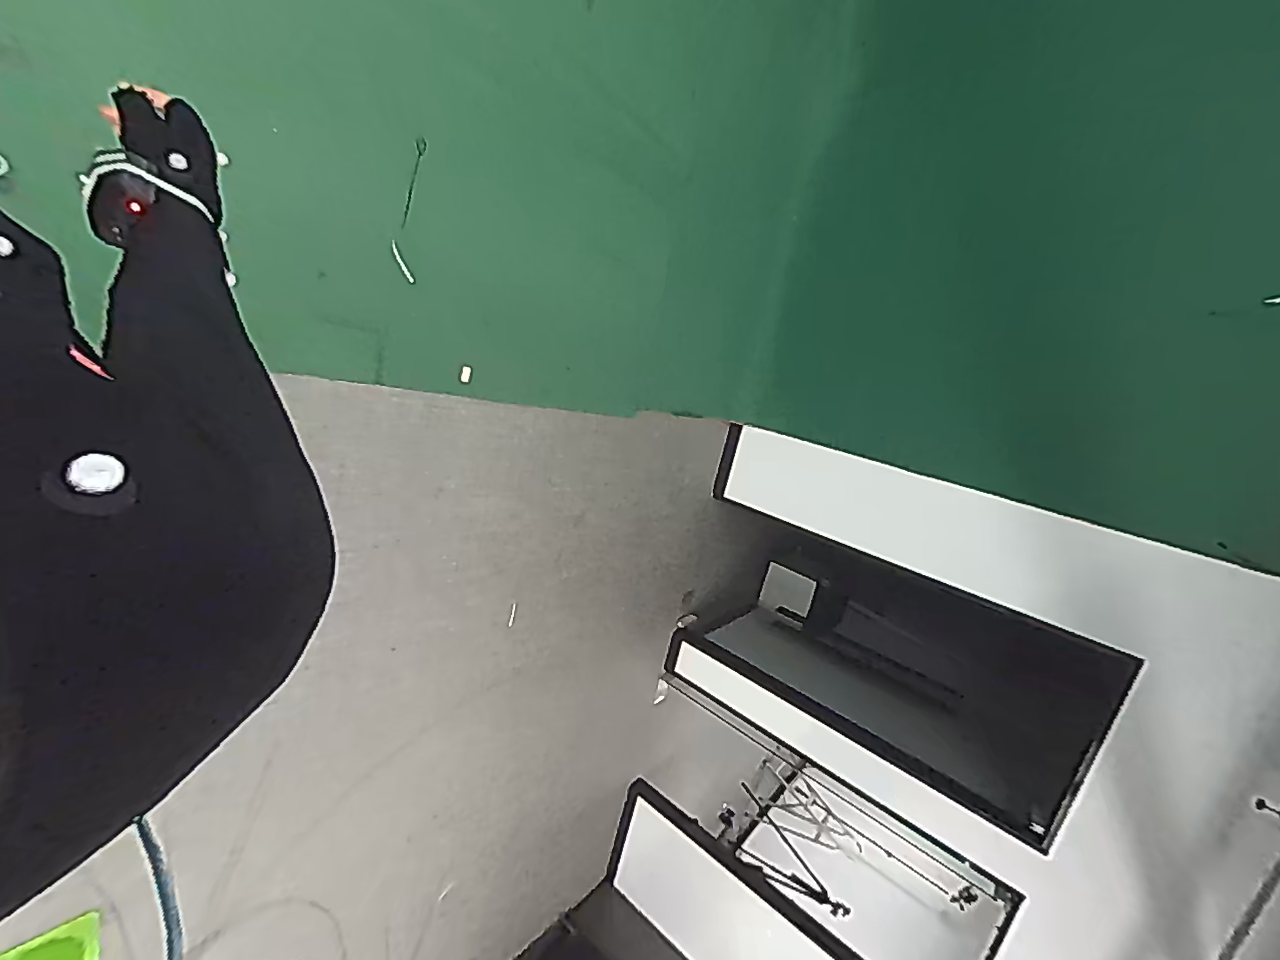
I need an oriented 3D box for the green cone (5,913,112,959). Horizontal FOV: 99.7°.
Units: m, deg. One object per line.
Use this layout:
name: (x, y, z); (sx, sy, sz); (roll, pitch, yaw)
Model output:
green cone: (-1.322, 1.256, 1.240); (0.202, 0.368, 0.200); (-4, 111, -51)
